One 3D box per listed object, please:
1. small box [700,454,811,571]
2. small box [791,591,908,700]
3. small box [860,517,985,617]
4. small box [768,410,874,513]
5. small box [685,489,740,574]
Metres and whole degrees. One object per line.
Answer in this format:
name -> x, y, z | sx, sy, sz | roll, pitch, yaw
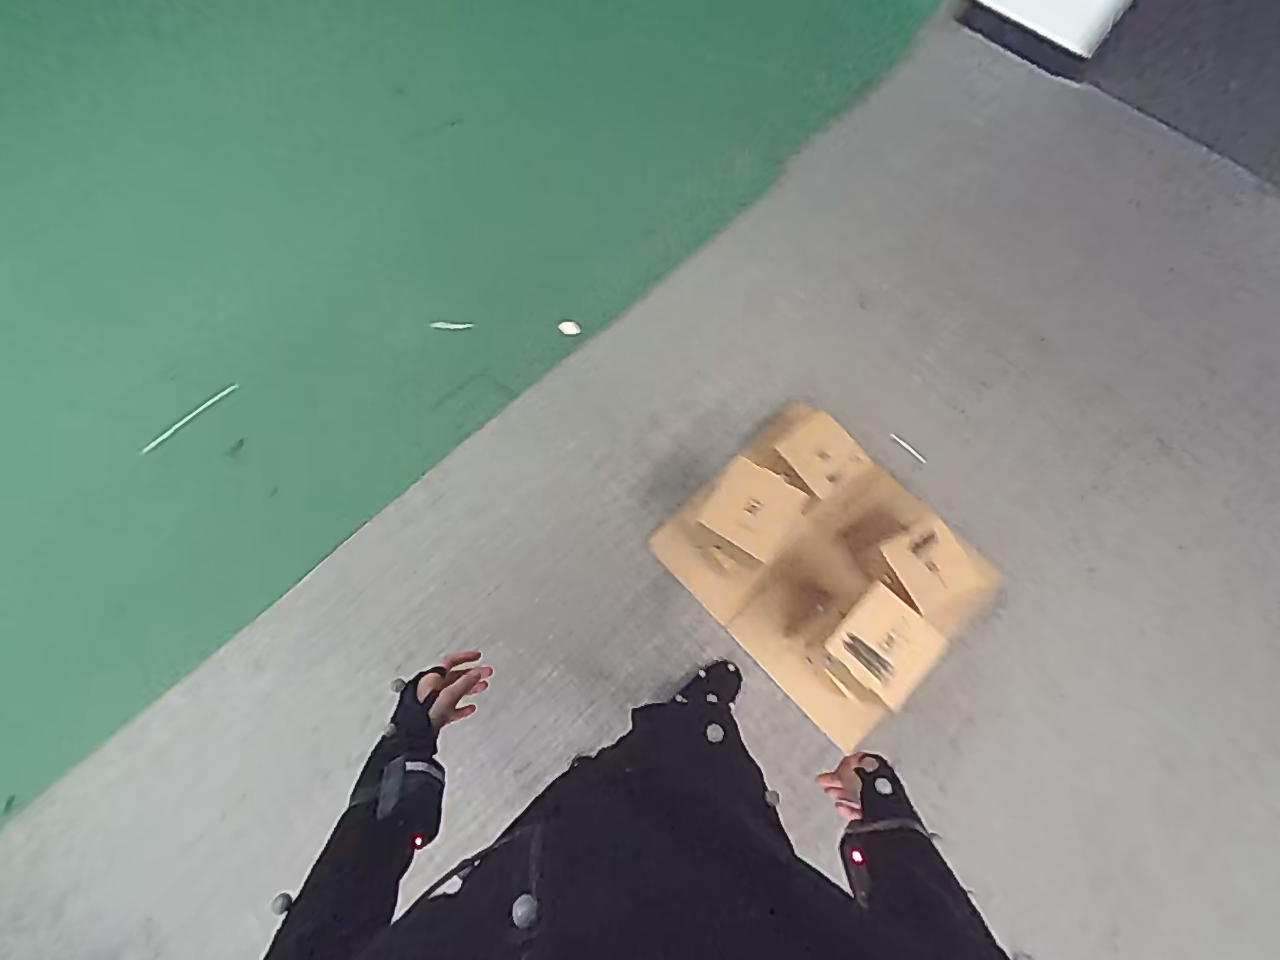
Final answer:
small box -> 0.243, 0.078, 1.187 | 0.168, 0.176, 0.179 | 34, 78, 12
small box -> 0.471, 0.382, 1.255 | 0.179, 0.176, 0.168 | -37, 76, -9
small box -> 0.661, 0.215, 1.294 | 0.168, 0.176, 0.179 | -26, 75, -5
small box -> 0.452, -0.040, 1.384 | 0.168, 0.176, 0.179 | -35, 74, -8
small box -> 0.228, 0.117, 1.347 | 0.179, 0.176, 0.168 | -36, 76, -8
